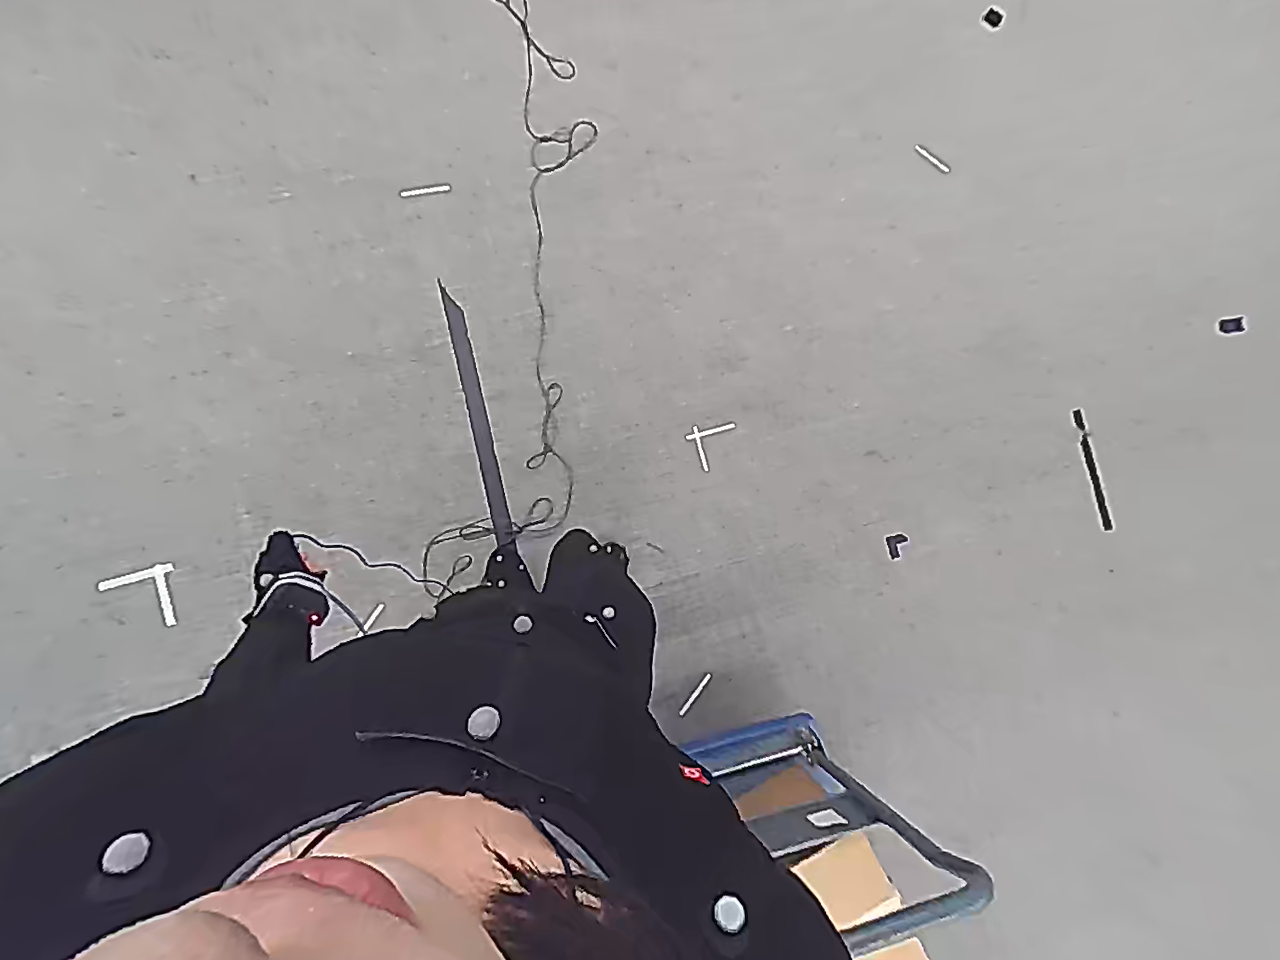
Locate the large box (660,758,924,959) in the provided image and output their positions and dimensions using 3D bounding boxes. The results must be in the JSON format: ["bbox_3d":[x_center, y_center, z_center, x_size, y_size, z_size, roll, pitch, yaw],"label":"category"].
[{"bbox_3d":[0.303,0.903,1.181,0.408,0.320,0.320,-27,87,-8],"label":"large box"}]
